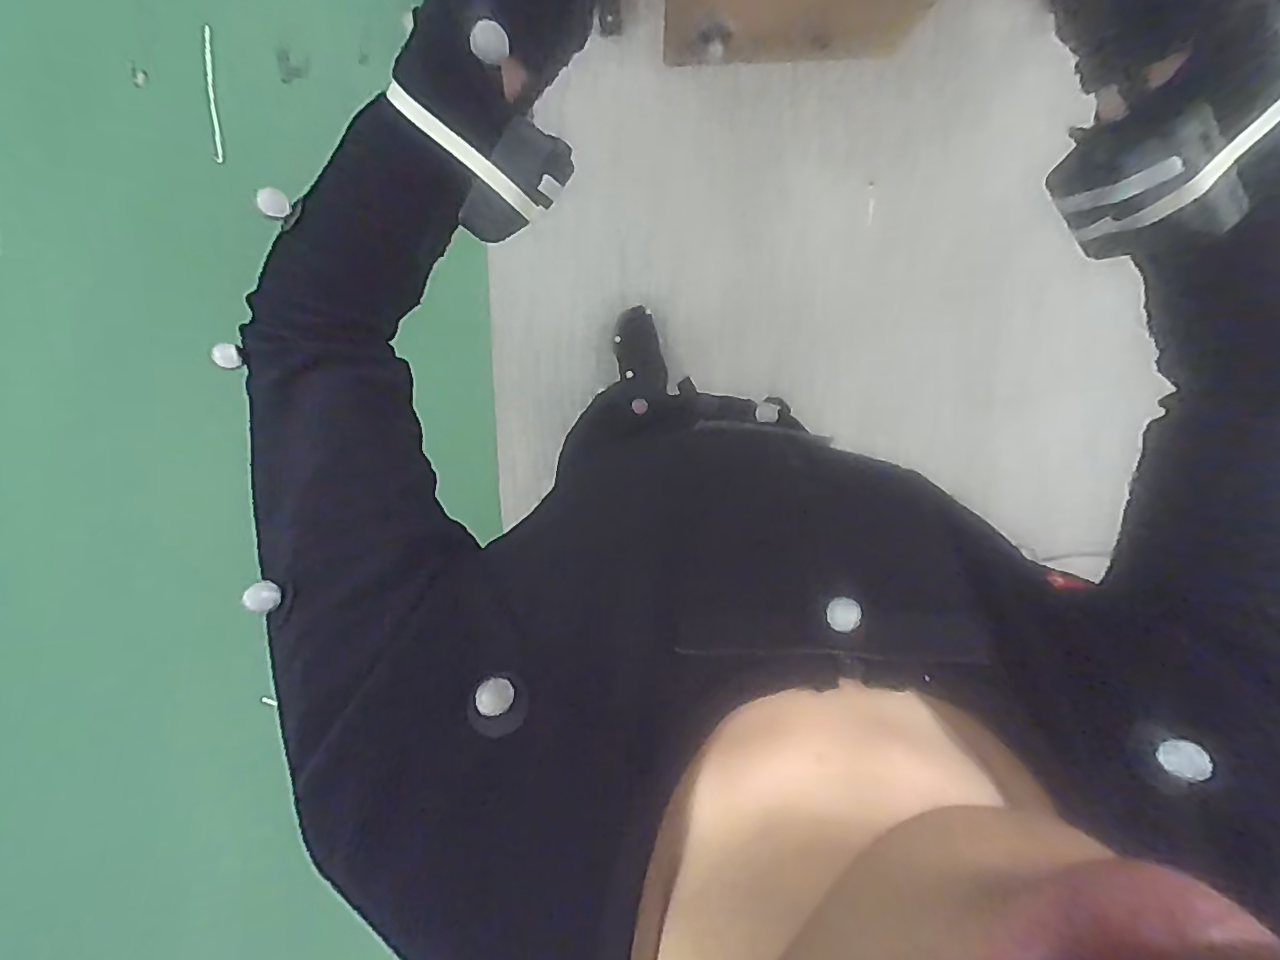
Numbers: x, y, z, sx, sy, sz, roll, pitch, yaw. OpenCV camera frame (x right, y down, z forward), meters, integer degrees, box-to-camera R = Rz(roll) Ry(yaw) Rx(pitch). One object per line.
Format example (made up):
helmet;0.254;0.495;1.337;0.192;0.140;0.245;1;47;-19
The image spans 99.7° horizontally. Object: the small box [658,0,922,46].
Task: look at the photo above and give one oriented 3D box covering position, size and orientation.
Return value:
small box;0.091;-0.363;0.276;0.168;0.176;0.179;-1;97;1
